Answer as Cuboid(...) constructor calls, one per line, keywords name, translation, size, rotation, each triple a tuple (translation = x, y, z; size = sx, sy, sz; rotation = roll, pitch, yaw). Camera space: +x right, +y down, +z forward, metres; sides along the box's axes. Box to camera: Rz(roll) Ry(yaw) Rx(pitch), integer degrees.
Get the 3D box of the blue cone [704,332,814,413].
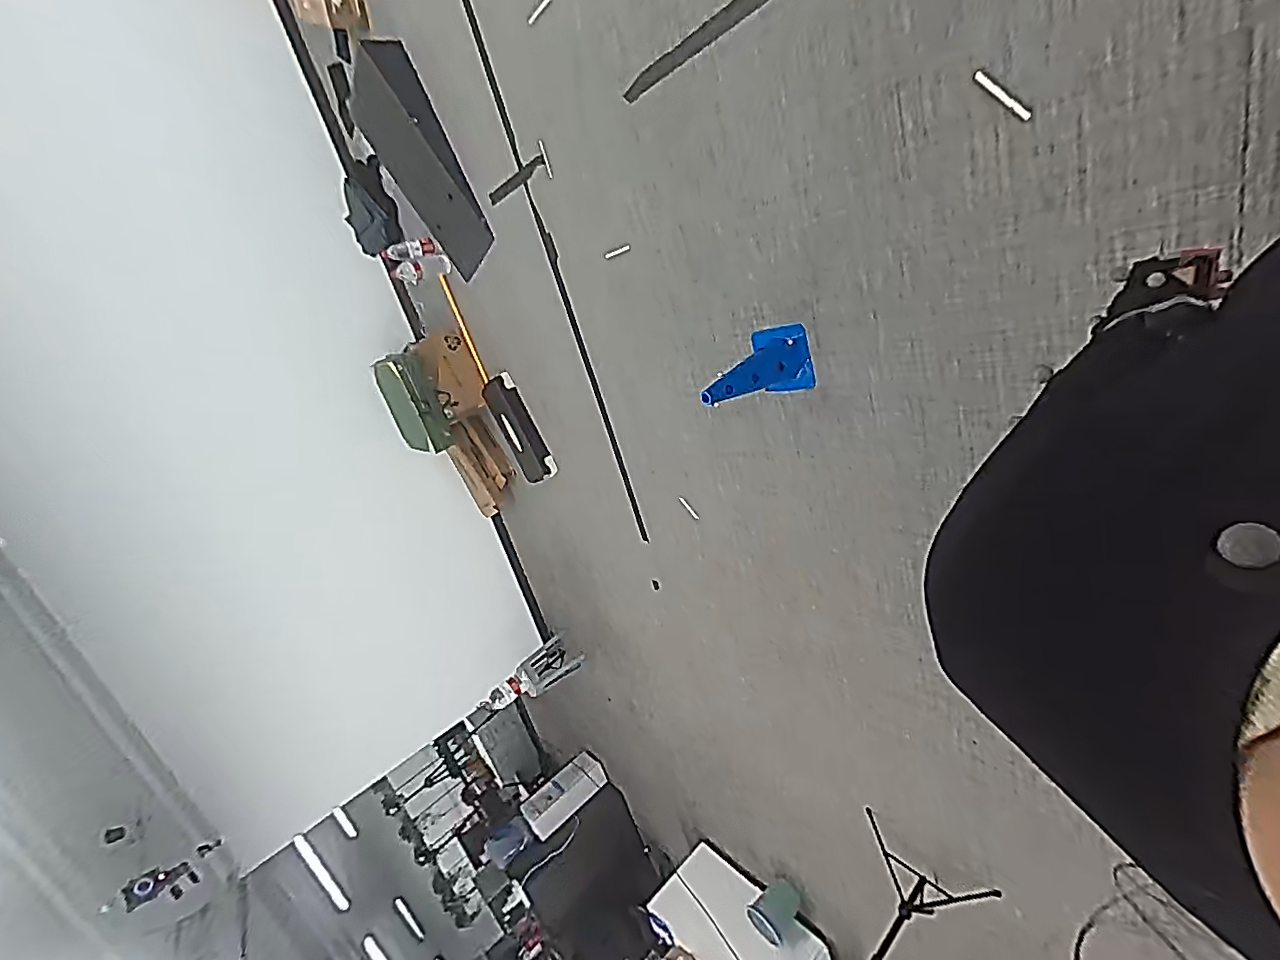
Cuboid(name="blue cone", translation=(0.321, -0.289, 1.584), size=(0.193, 0.380, 0.192), rotation=(9, 122, 52))
